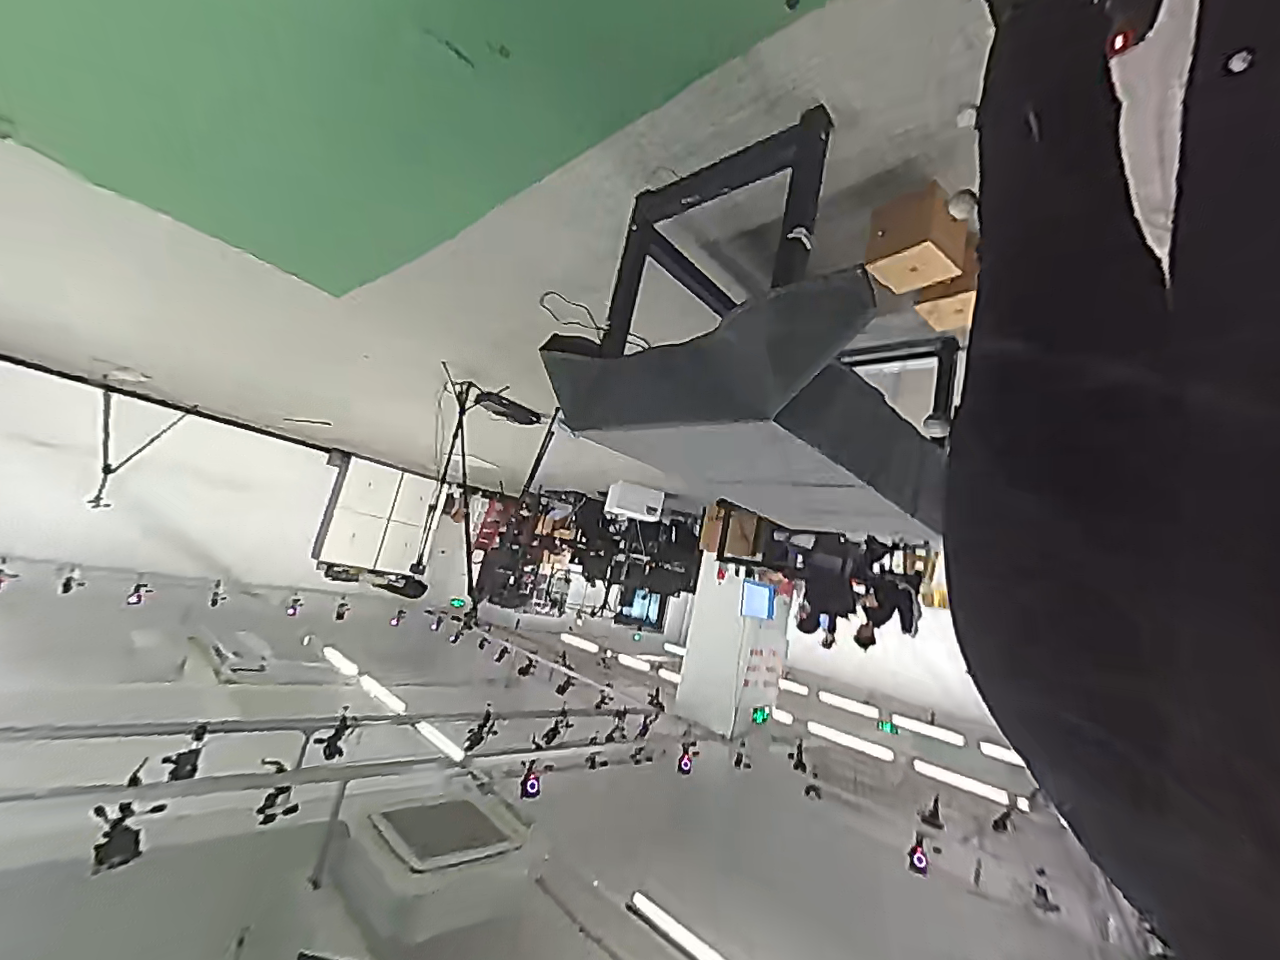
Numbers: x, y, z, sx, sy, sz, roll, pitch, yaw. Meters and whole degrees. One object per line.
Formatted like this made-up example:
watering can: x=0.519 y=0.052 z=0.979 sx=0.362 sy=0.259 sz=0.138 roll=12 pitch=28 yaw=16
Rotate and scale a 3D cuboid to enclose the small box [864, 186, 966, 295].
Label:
small box: x=0.717 y=-0.616 z=1.406 sx=0.168 sy=0.176 sz=0.179 roll=17 pitch=169 yaw=-33
